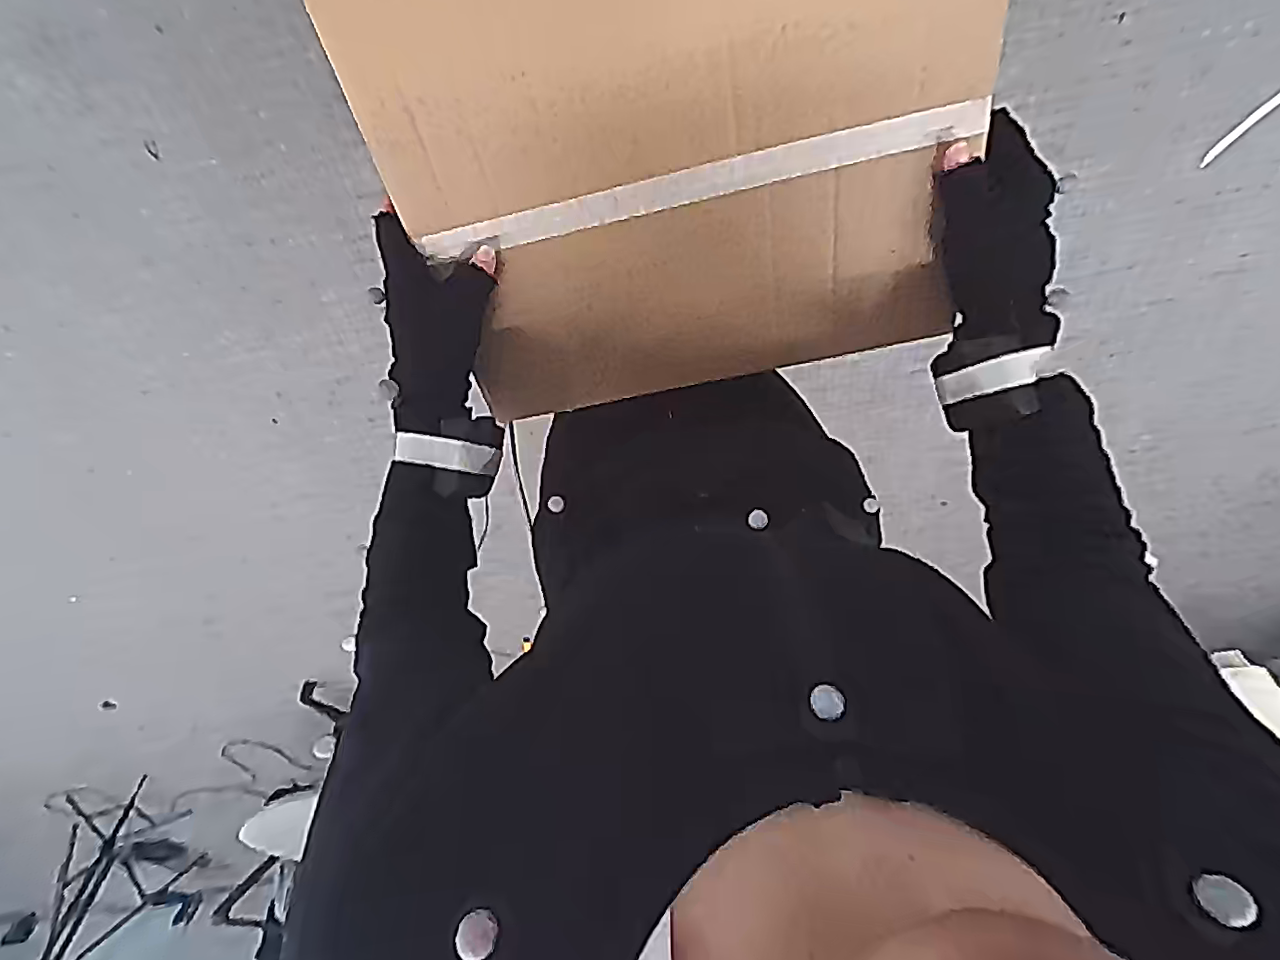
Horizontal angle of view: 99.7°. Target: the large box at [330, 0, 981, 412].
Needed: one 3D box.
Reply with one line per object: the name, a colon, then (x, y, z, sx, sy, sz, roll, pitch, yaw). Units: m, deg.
large box: (0.027, -0.307, 0.515, 0.408, 0.320, 0.320, -10, 128, 6)
